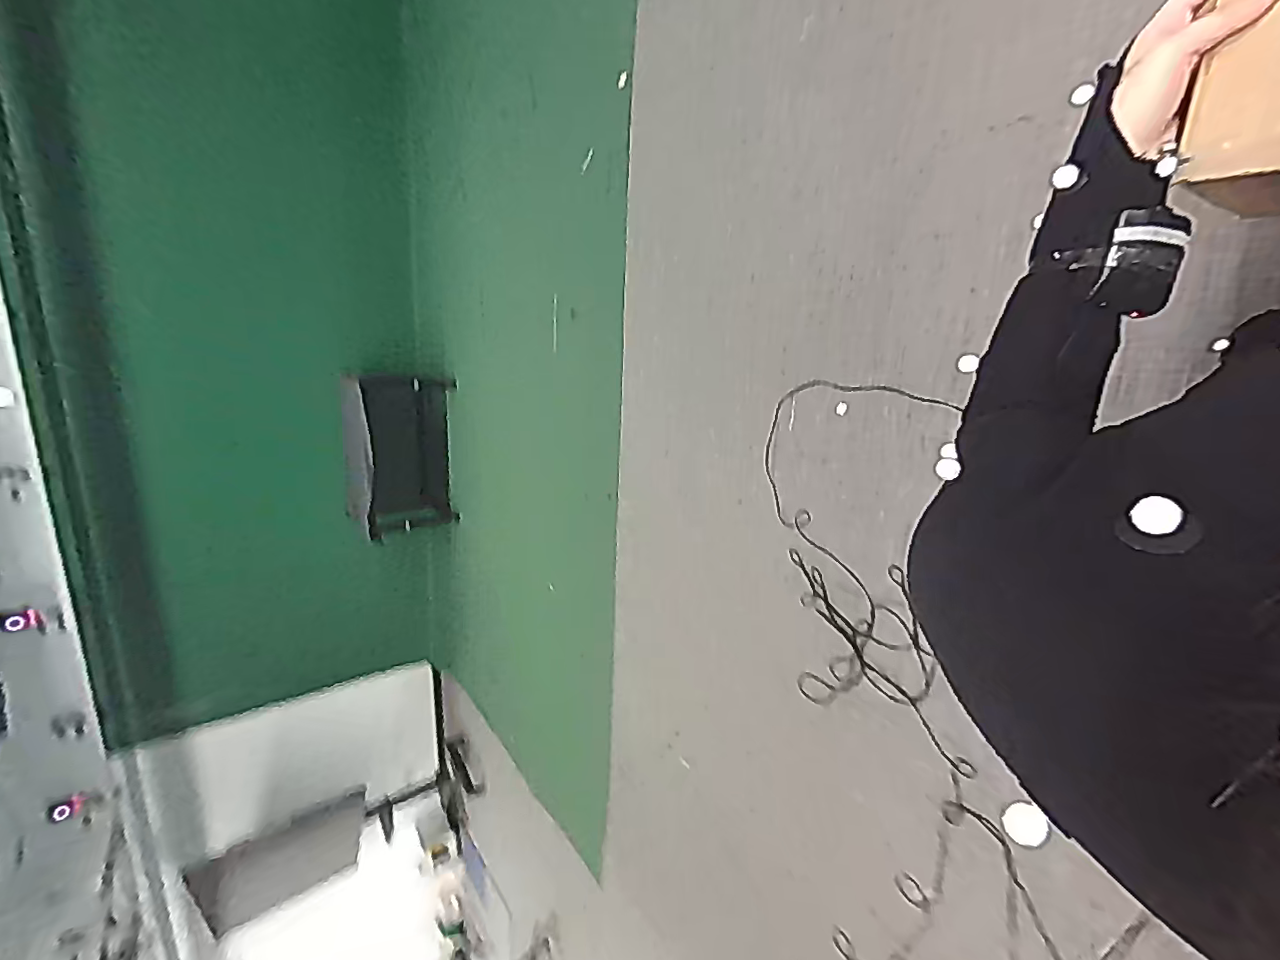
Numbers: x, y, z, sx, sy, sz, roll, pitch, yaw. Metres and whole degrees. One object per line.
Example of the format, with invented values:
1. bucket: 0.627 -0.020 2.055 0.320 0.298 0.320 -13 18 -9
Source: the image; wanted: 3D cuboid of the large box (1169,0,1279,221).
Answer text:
1. large box: 0.626 -0.348 0.292 0.408 0.320 0.320 19 116 51
